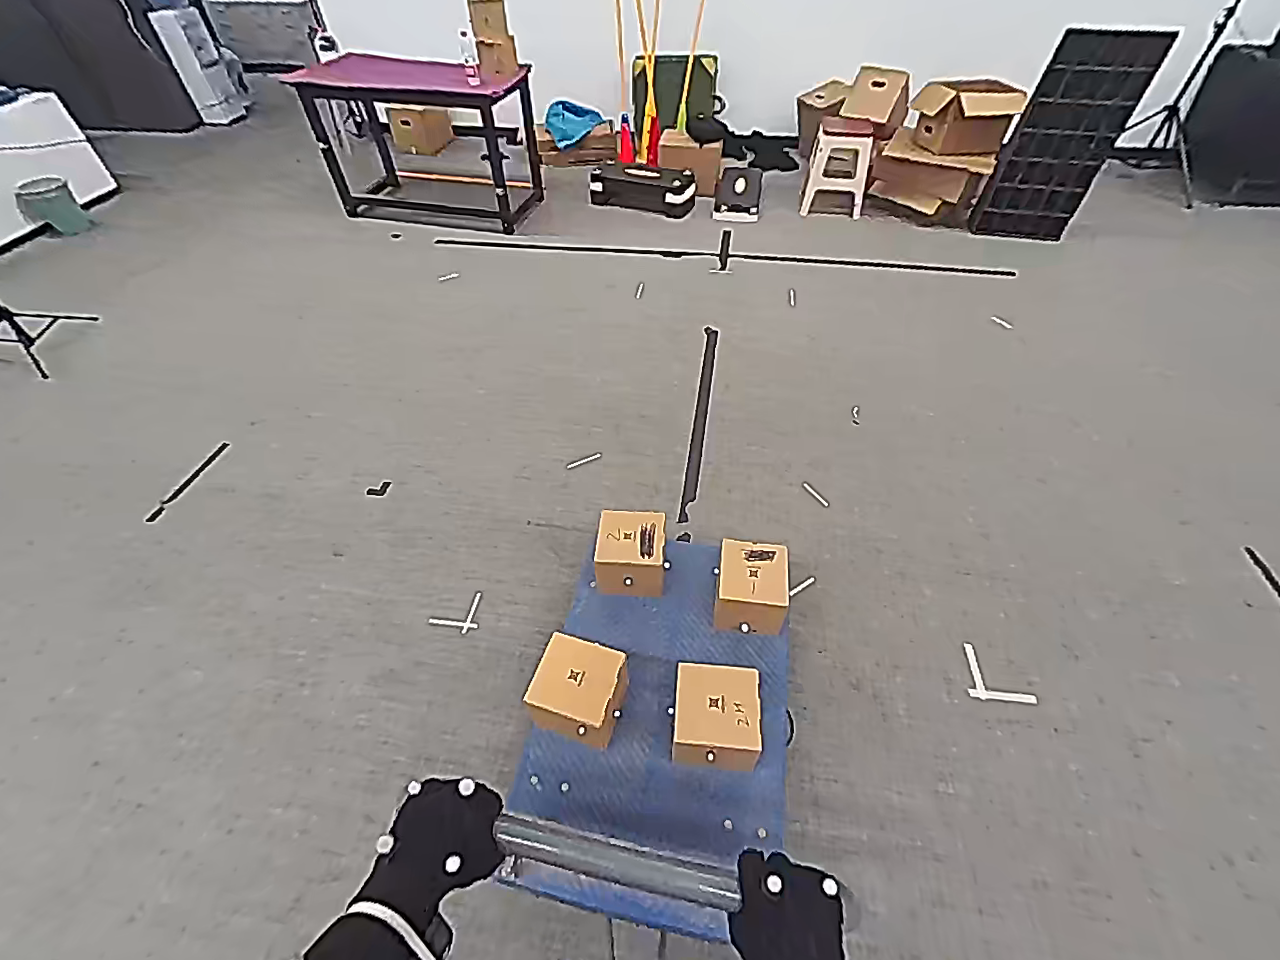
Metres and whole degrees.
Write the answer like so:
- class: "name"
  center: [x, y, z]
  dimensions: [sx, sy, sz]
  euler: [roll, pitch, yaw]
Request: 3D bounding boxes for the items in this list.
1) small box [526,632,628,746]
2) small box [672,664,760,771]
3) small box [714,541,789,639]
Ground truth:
- class: "small box"
  center: [-0.135, 0.479, 1.230]
  dimensions: [0.179, 0.176, 0.168]
  euler: [14, 50, 11]
- class: "small box"
  center: [0.163, 0.523, 1.185]
  dimensions: [0.179, 0.176, 0.168]
  euler: [4, 49, 5]
- class: "small box"
  center: [0.284, 0.284, 1.394]
  dimensions: [0.168, 0.176, 0.179]
  euler: [6, 50, 7]
